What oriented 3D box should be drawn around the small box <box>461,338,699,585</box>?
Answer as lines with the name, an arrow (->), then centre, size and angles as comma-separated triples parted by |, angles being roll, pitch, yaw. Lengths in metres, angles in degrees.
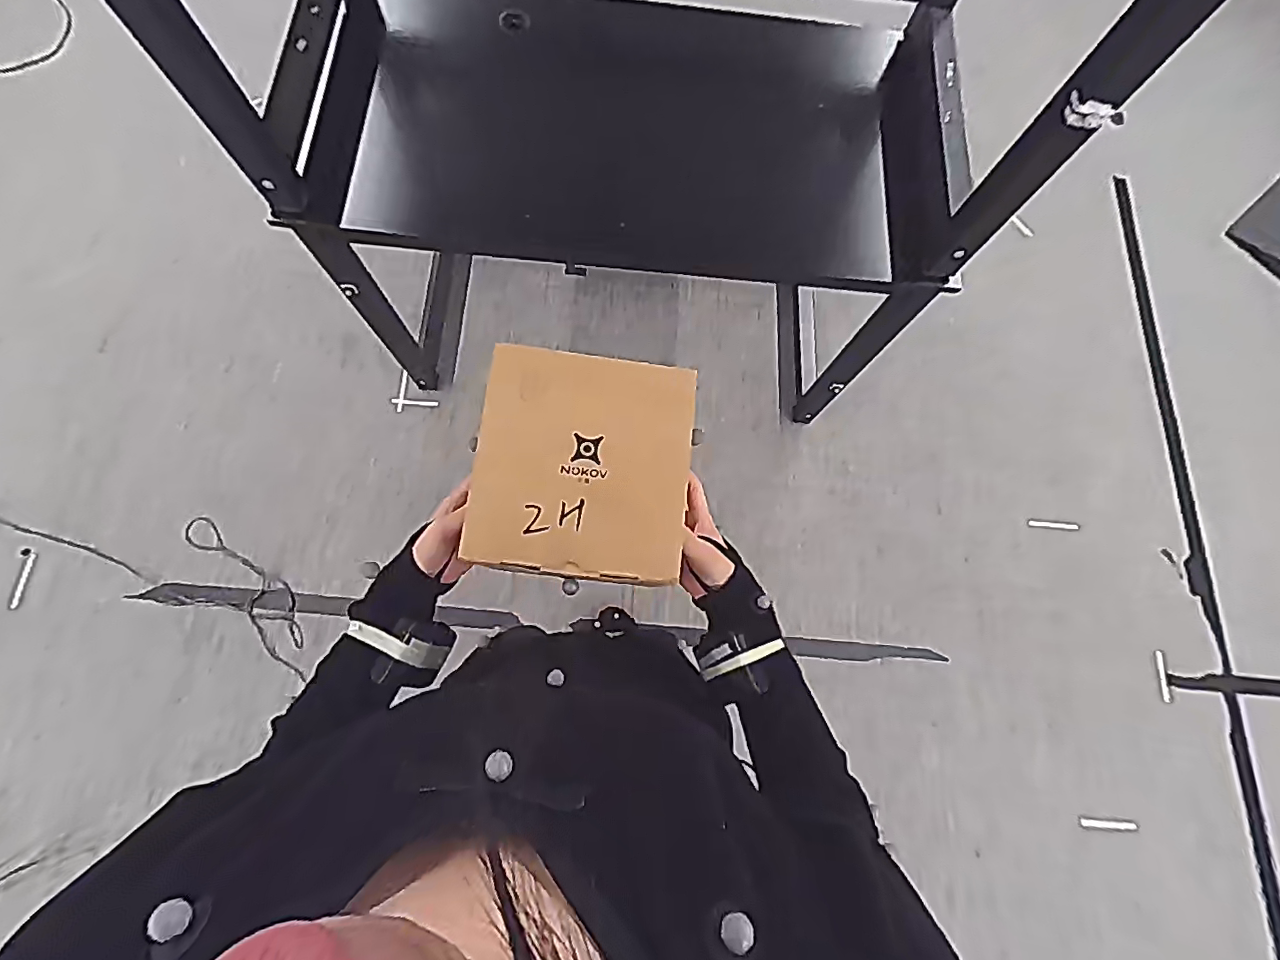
small box -> -0.050, -0.002, 0.495 | 0.168, 0.176, 0.179 | 8, 78, -5
